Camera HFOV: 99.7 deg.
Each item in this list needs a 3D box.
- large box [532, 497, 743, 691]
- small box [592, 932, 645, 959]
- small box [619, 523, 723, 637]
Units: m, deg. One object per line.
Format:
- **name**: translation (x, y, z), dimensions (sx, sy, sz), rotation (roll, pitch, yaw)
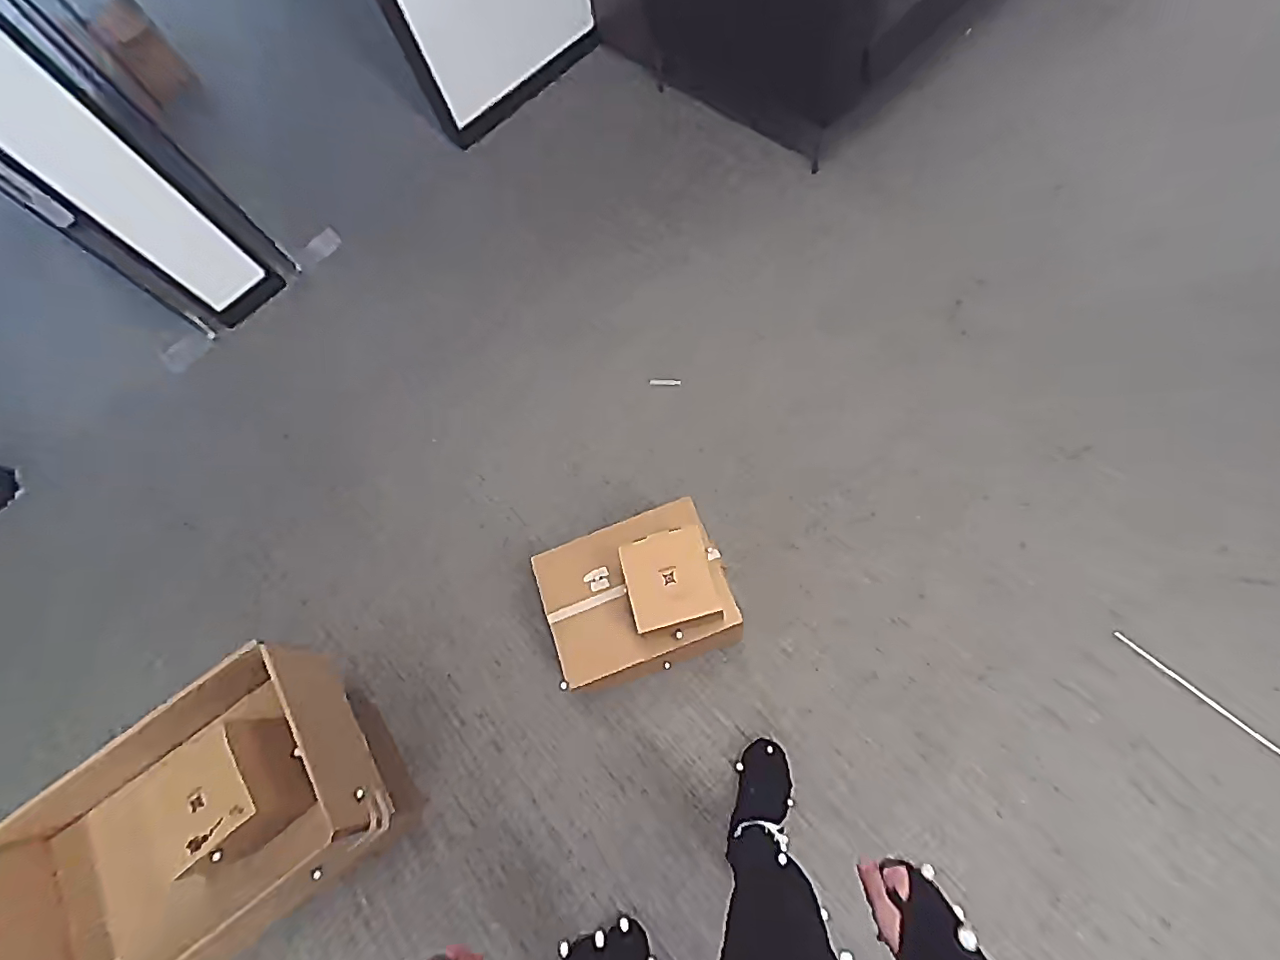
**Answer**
- **large box**: translation (0.006, 0.293, 1.334), dimensions (0.408, 0.320, 0.320), rotation (-22, 66, 1)
- **small box**: translation (-0.026, 1.067, 1.085), dimensions (0.179, 0.176, 0.168), rotation (12, 45, 40)
- **small box**: translation (0.065, 0.207, 1.092), dimensions (0.168, 0.176, 0.179), rotation (-16, 69, 3)
